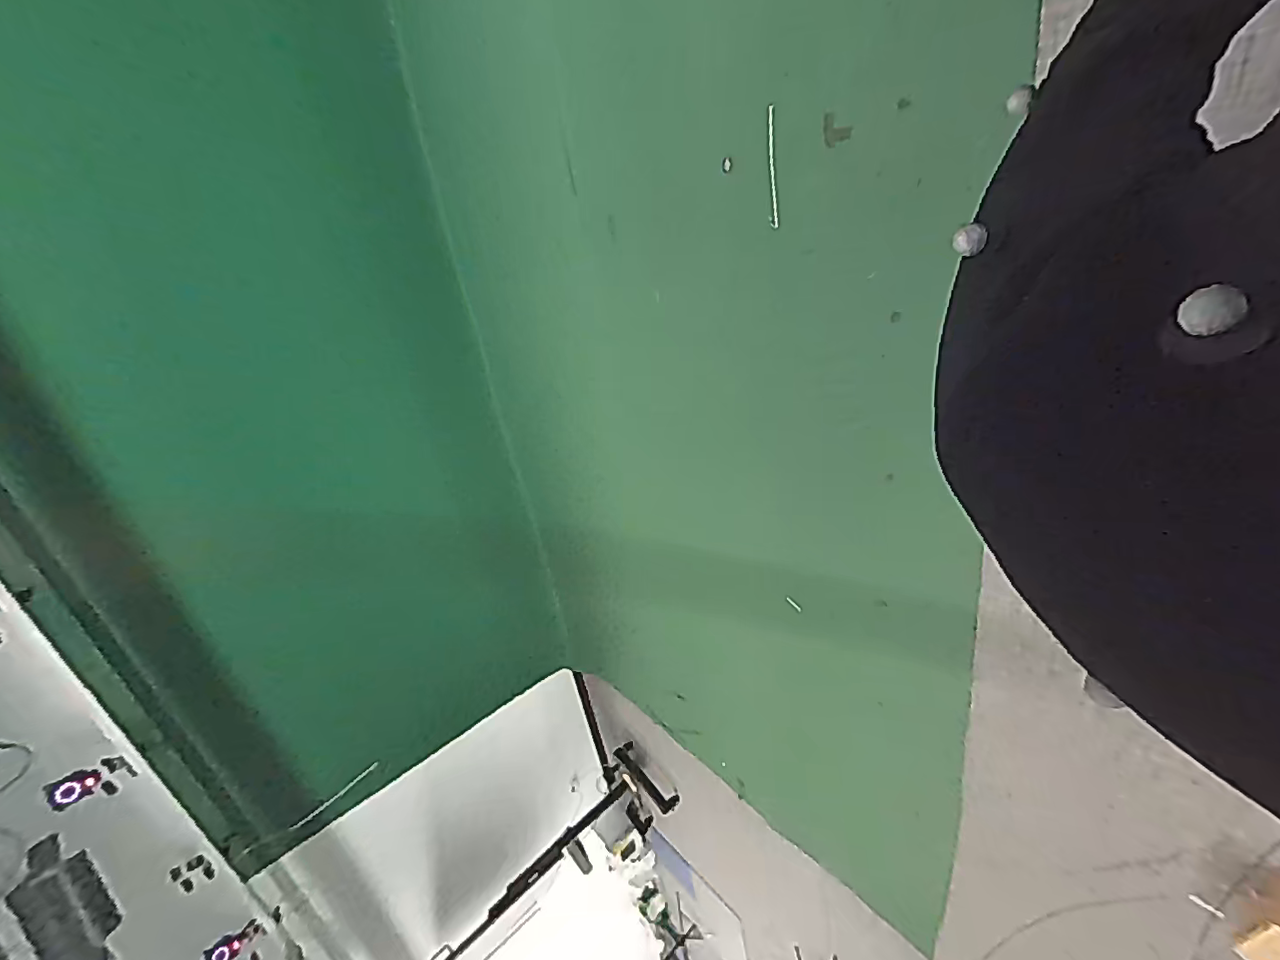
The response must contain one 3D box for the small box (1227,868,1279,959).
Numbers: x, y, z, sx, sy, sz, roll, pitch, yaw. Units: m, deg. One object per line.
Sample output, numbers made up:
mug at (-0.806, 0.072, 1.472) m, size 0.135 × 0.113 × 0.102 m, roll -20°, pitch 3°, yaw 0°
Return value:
small box at (1.533, 1.058, 1.247) m, size 0.179 × 0.176 × 0.168 m, roll 35°, pitch 138°, yaw 39°
